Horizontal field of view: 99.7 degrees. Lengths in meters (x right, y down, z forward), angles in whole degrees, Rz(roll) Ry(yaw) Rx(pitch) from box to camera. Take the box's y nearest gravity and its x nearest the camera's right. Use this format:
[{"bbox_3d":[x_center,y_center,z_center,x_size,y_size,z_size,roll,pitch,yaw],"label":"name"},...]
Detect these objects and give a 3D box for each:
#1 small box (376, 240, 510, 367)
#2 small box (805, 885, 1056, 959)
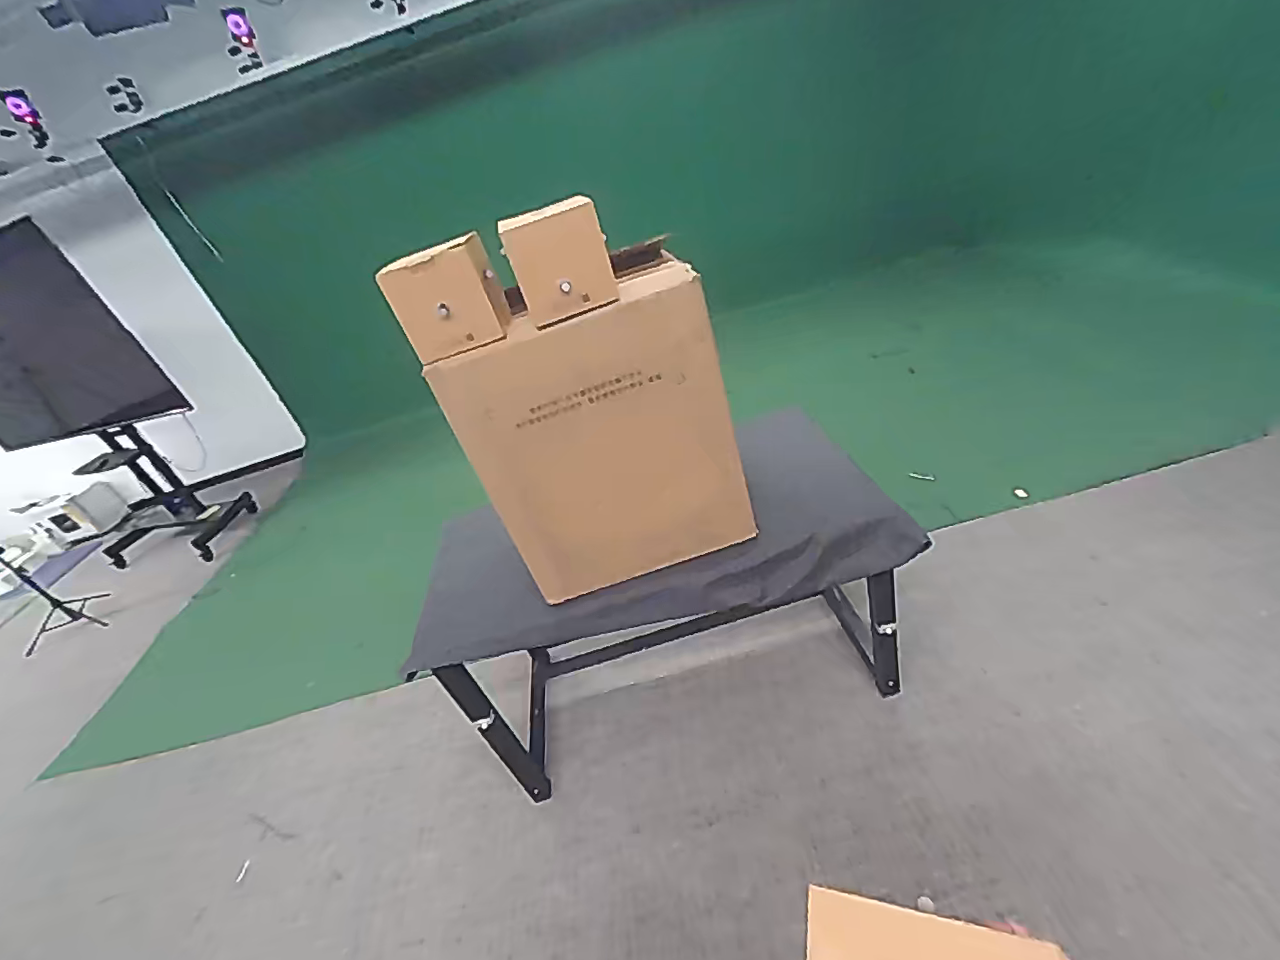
[{"bbox_3d":[-0.359,-0.331,1.024,0.168,0.176,0.179,-19,32,2],"label":"small box"},{"bbox_3d":[0.214,0.439,0.410,0.168,0.176,0.179,-1,50,19],"label":"small box"}]
